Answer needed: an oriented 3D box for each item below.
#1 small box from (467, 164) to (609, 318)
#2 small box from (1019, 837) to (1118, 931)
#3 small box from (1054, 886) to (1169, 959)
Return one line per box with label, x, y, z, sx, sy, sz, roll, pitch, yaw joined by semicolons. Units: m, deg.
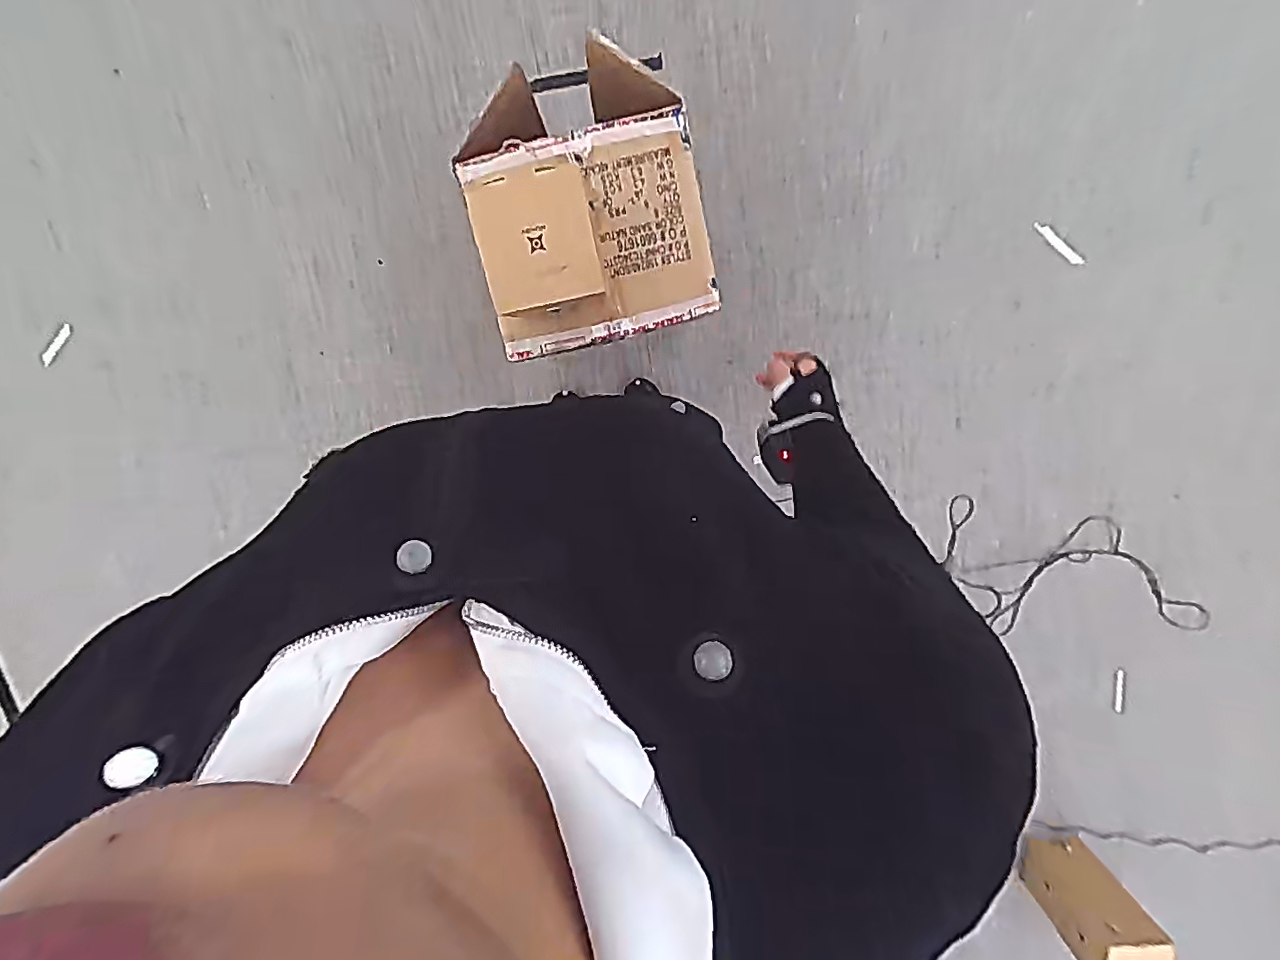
small box;-0.147;-0.358;0.842;0.168;0.176;0.179;-12;106;3
small box;1.329;1.261;1.690;0.168;0.176;0.179;0;101;-1
small box;1.320;1.291;1.527;0.179;0.176;0.168;-3;103;-1
